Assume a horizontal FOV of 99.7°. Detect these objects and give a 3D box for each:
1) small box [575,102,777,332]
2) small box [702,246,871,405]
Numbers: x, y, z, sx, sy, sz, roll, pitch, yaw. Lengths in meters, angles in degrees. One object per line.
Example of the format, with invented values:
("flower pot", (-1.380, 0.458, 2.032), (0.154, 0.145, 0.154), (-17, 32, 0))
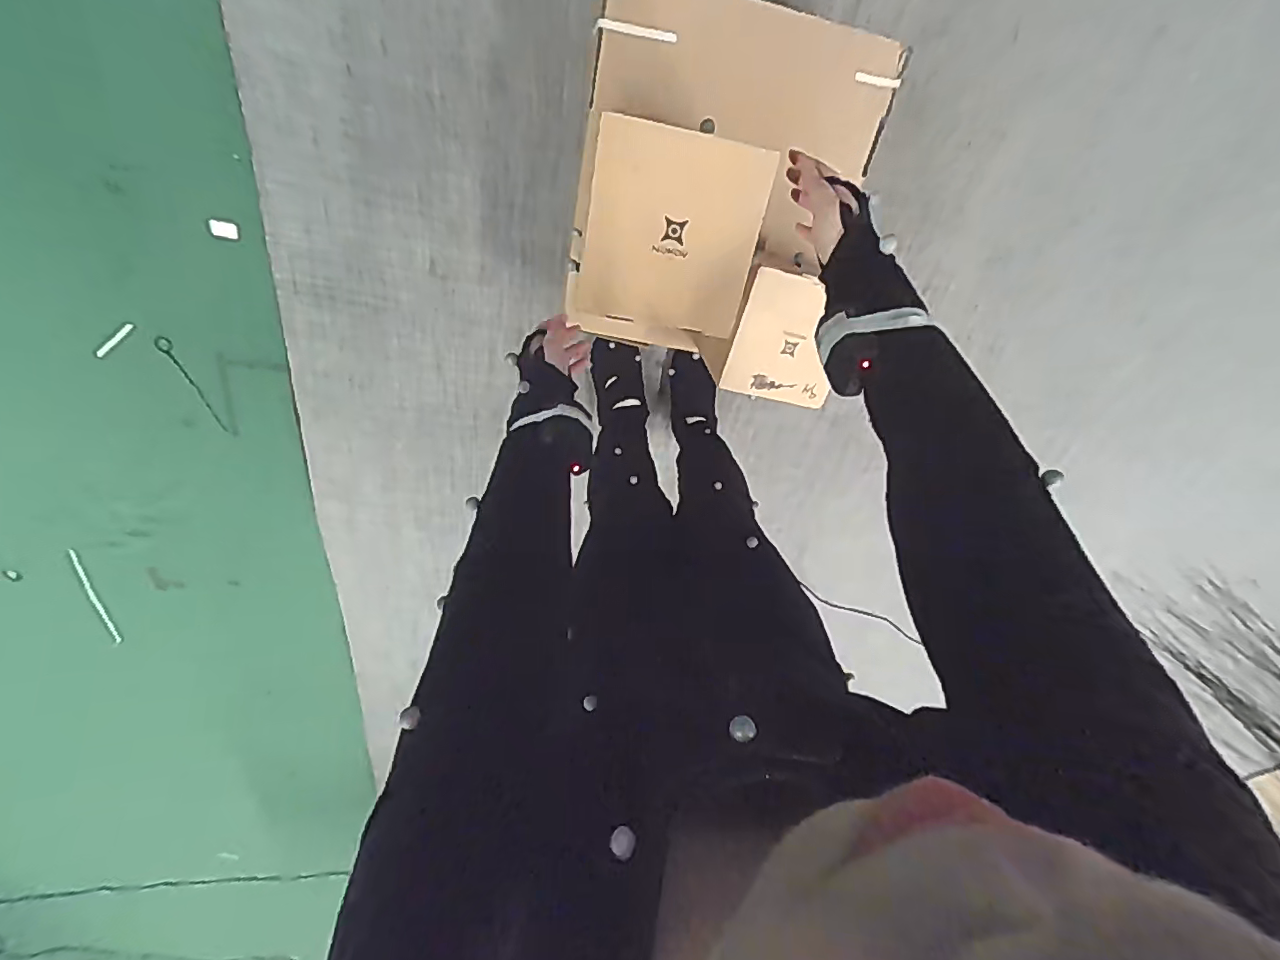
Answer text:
("small box", (0.023, -0.279, 0.579), (0.168, 0.176, 0.179), (7, 121, -8))
("small box", (0.201, -0.237, 0.806), (0.168, 0.176, 0.179), (10, 120, -10))
